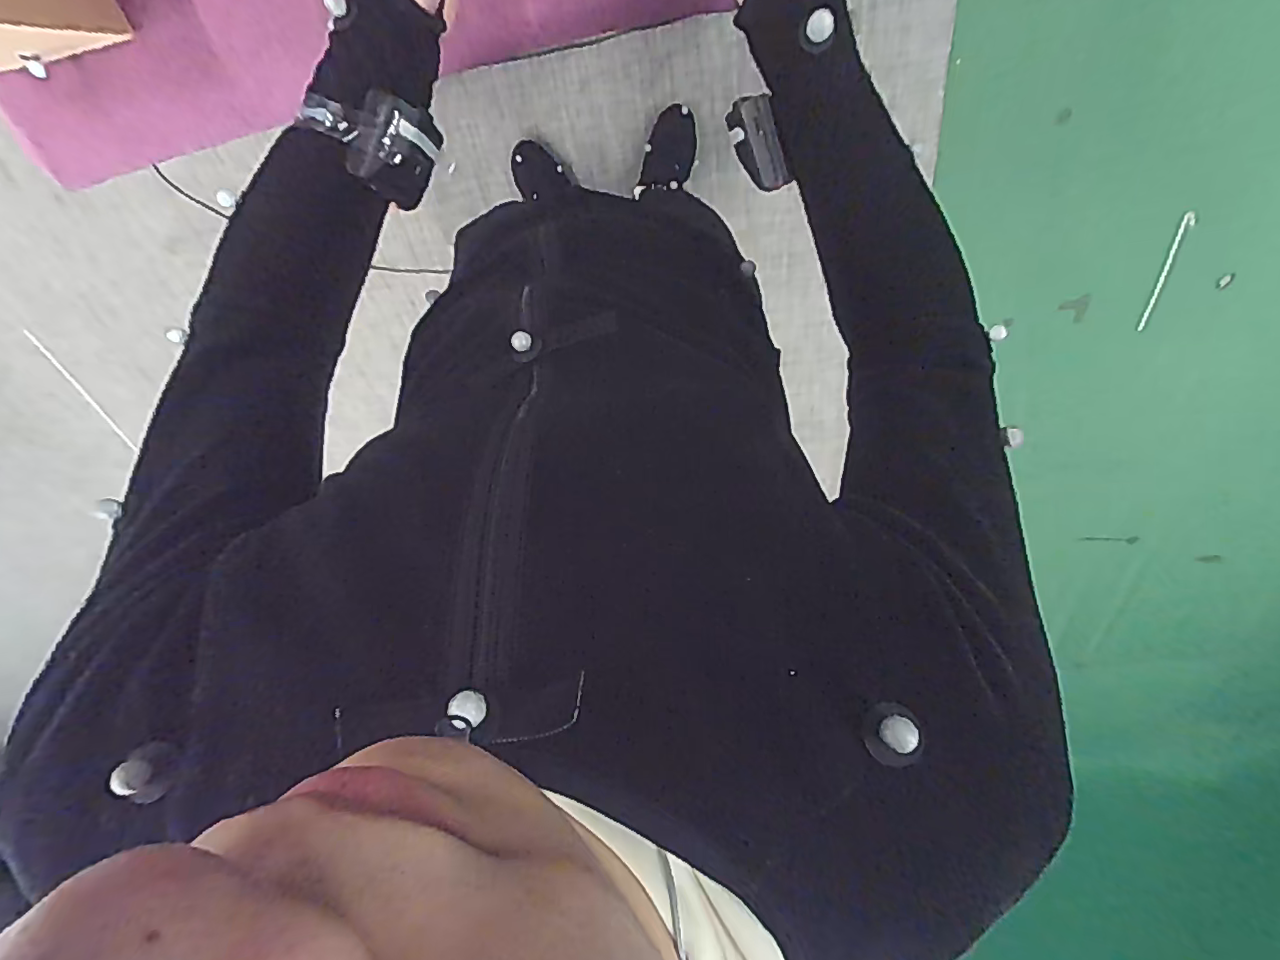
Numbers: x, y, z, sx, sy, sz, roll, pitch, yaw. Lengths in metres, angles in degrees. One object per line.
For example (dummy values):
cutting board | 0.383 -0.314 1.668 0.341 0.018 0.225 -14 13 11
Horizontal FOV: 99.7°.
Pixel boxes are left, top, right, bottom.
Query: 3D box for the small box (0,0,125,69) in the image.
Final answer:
small box | -0.654 -0.498 0.491 0.168 0.176 0.179 -8 126 6
